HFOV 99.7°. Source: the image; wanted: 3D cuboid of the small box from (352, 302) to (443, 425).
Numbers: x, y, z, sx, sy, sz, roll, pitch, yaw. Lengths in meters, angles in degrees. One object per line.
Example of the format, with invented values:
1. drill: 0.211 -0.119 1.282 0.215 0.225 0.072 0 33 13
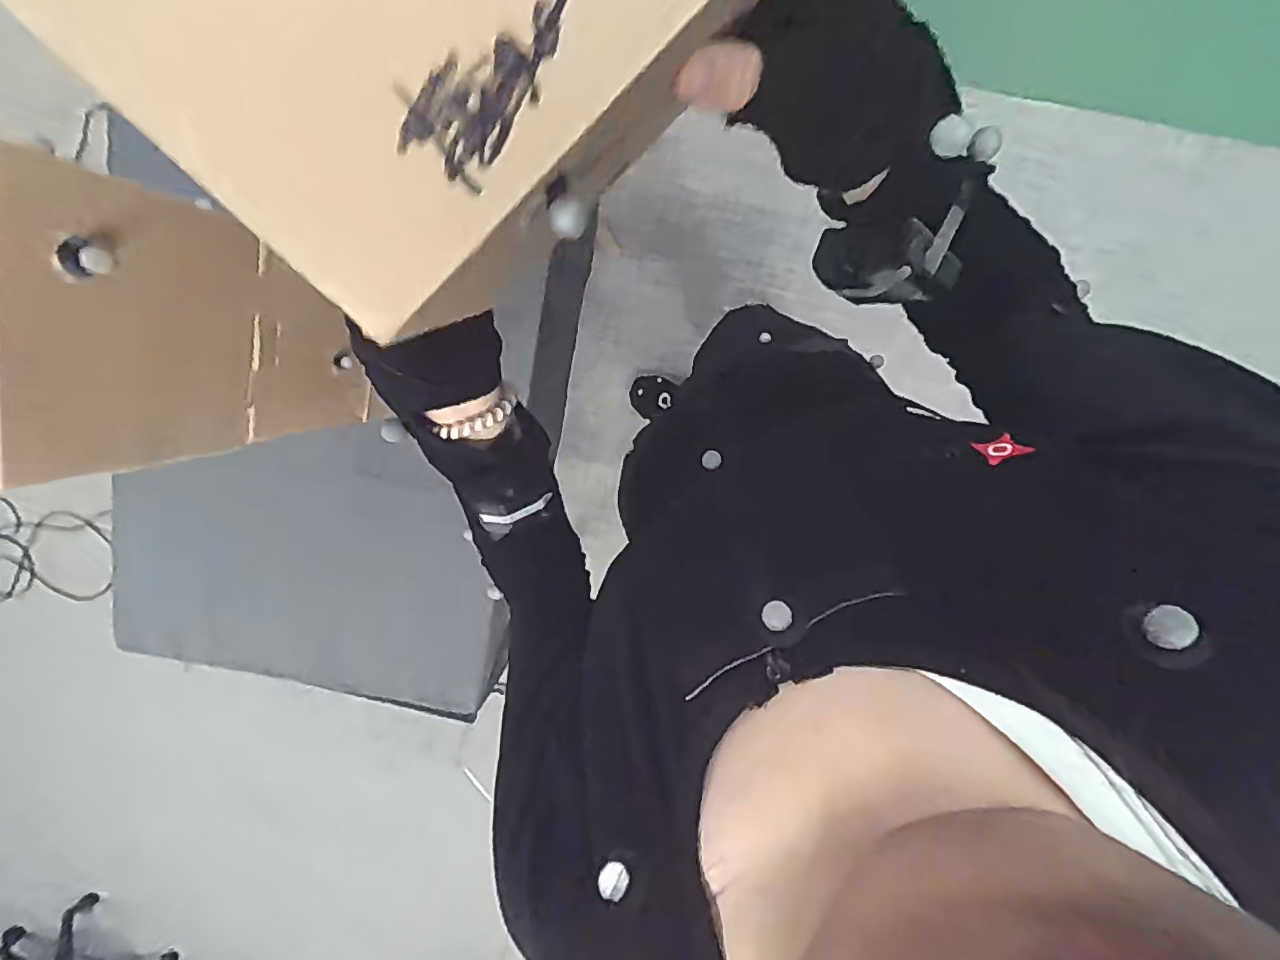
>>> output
1. small box: -0.366 -0.173 0.673 0.179 0.176 0.168 12 102 3

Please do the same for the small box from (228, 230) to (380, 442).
1. small box: -0.378 -0.141 0.514 0.179 0.176 0.168 12 102 2

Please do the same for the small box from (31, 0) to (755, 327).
1. small box: -0.080 -0.180 0.203 0.168 0.176 0.179 -41 107 11

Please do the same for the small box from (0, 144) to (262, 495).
1. small box: -0.387 -0.109 0.353 0.168 0.176 0.179 14 102 2
